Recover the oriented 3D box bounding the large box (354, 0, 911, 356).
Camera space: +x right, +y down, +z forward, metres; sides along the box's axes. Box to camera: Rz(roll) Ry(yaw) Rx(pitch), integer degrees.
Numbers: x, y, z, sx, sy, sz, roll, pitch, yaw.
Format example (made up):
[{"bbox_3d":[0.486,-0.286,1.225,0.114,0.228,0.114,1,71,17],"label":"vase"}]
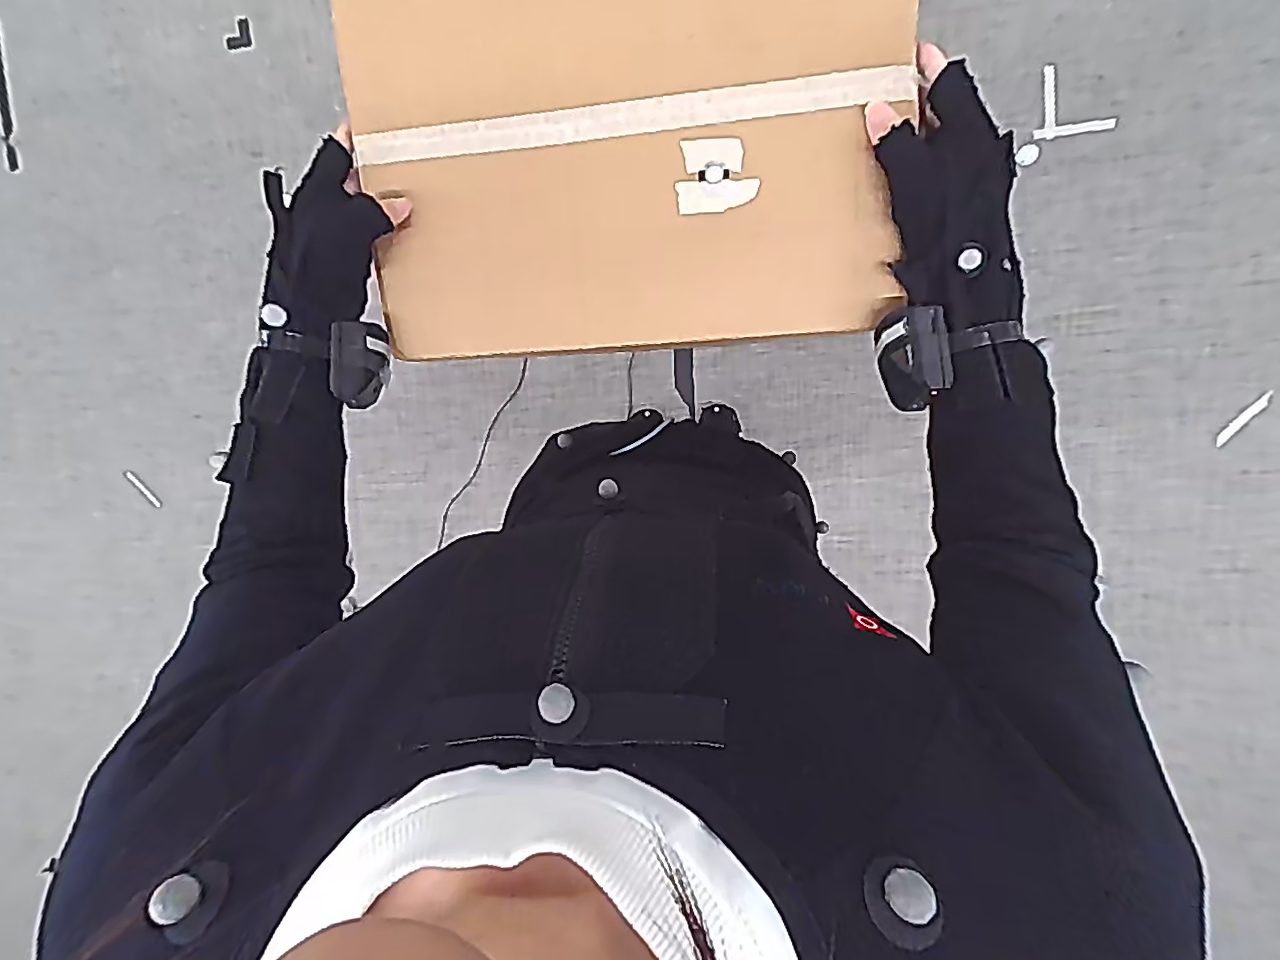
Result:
[{"bbox_3d":[0.005,-0.299,0.545,0.408,0.320,0.320,-2,104,7],"label":"large box"}]
